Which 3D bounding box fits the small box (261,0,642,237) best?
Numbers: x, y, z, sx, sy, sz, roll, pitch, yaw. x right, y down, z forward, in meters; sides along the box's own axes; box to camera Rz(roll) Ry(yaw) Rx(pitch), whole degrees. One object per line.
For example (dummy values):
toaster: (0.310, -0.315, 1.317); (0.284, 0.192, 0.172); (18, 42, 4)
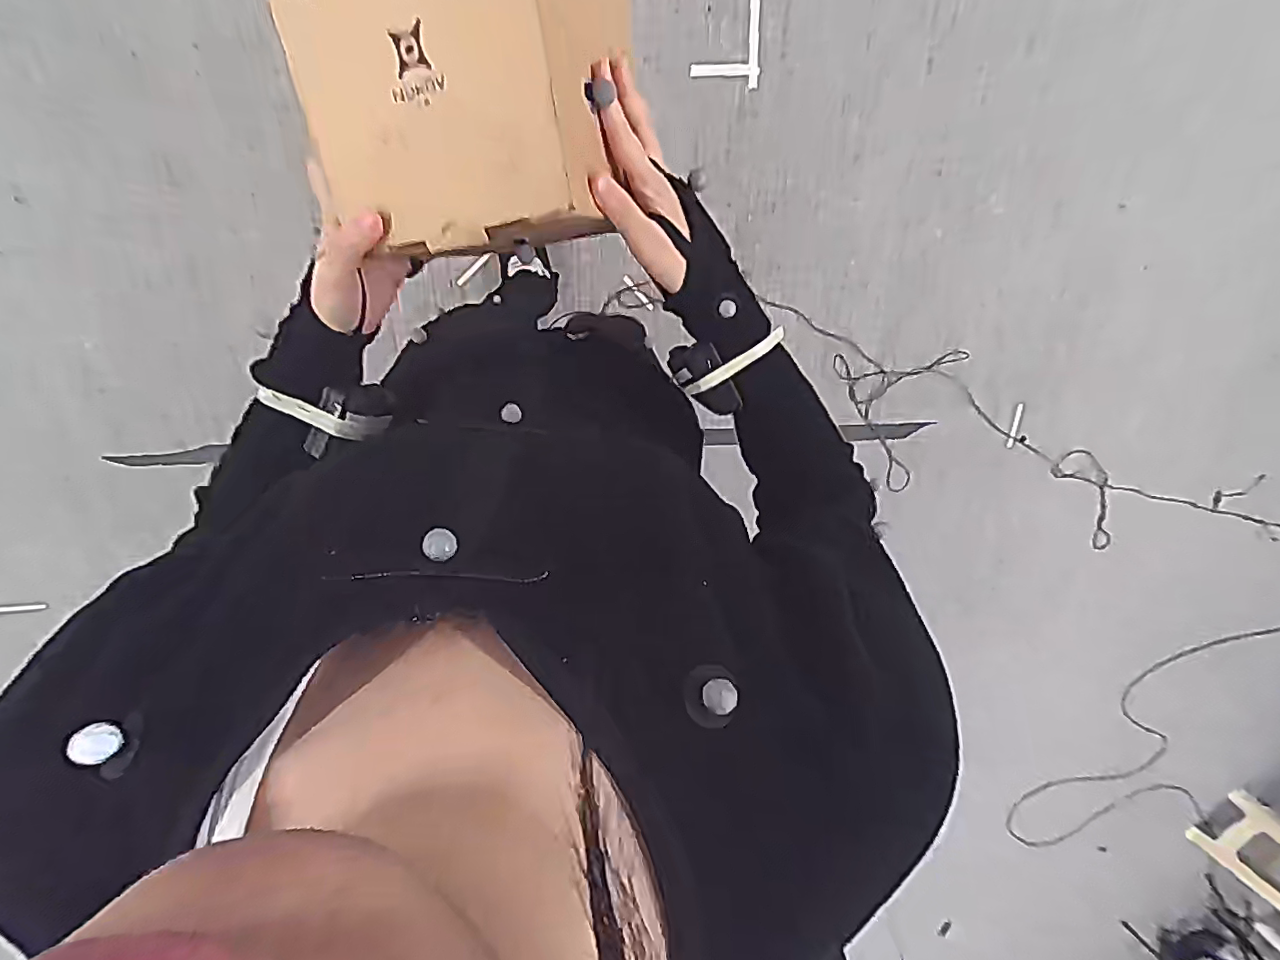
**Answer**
small box: (-0.104, -0.266, 0.357); (0.168, 0.176, 0.179); (-2, 112, 17)
